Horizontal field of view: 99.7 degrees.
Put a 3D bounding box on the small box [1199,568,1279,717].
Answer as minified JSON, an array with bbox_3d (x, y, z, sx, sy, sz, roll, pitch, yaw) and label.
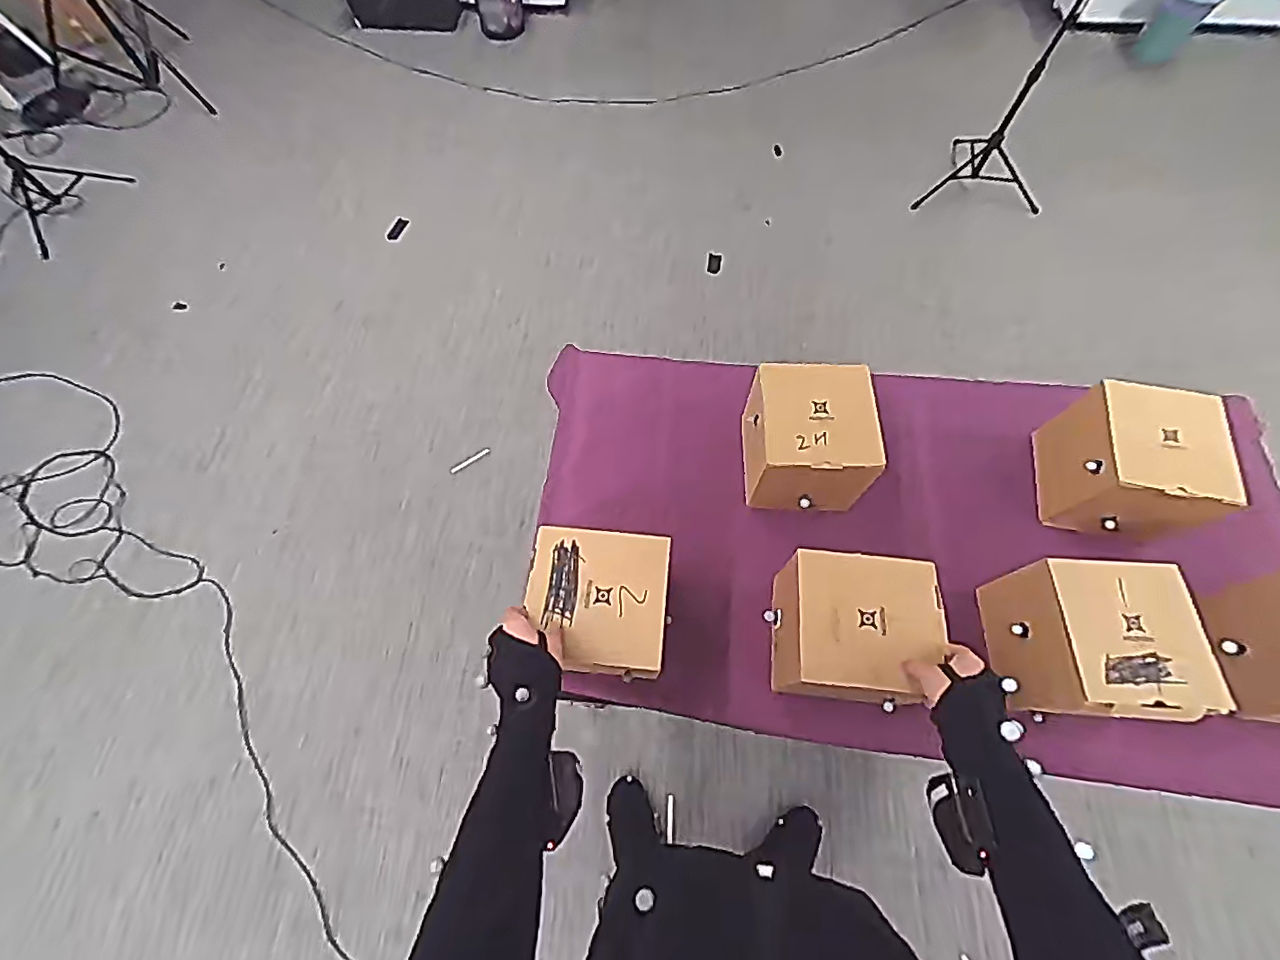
[{"bbox_3d":[0.911,0.221,0.707,0.168,0.176,0.179,7,63,4],"label":"small box"}]

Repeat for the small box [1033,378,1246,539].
[{"bbox_3d":[0.744,-0.027,0.833,0.168,0.176,0.179,10,67,6],"label":"small box"}]

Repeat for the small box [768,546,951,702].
[{"bbox_3d":[0.280,0.200,0.729,0.179,0.176,0.168,6,64,2],"label":"small box"}]

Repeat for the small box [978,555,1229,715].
[{"bbox_3d":[0.588,0.212,0.718,0.168,0.176,0.179,3,64,2],"label":"small box"}]

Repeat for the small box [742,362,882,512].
[{"bbox_3d":[0.258,-0.064,0.856,0.168,0.176,0.179,1,65,2],"label":"small box"}]
